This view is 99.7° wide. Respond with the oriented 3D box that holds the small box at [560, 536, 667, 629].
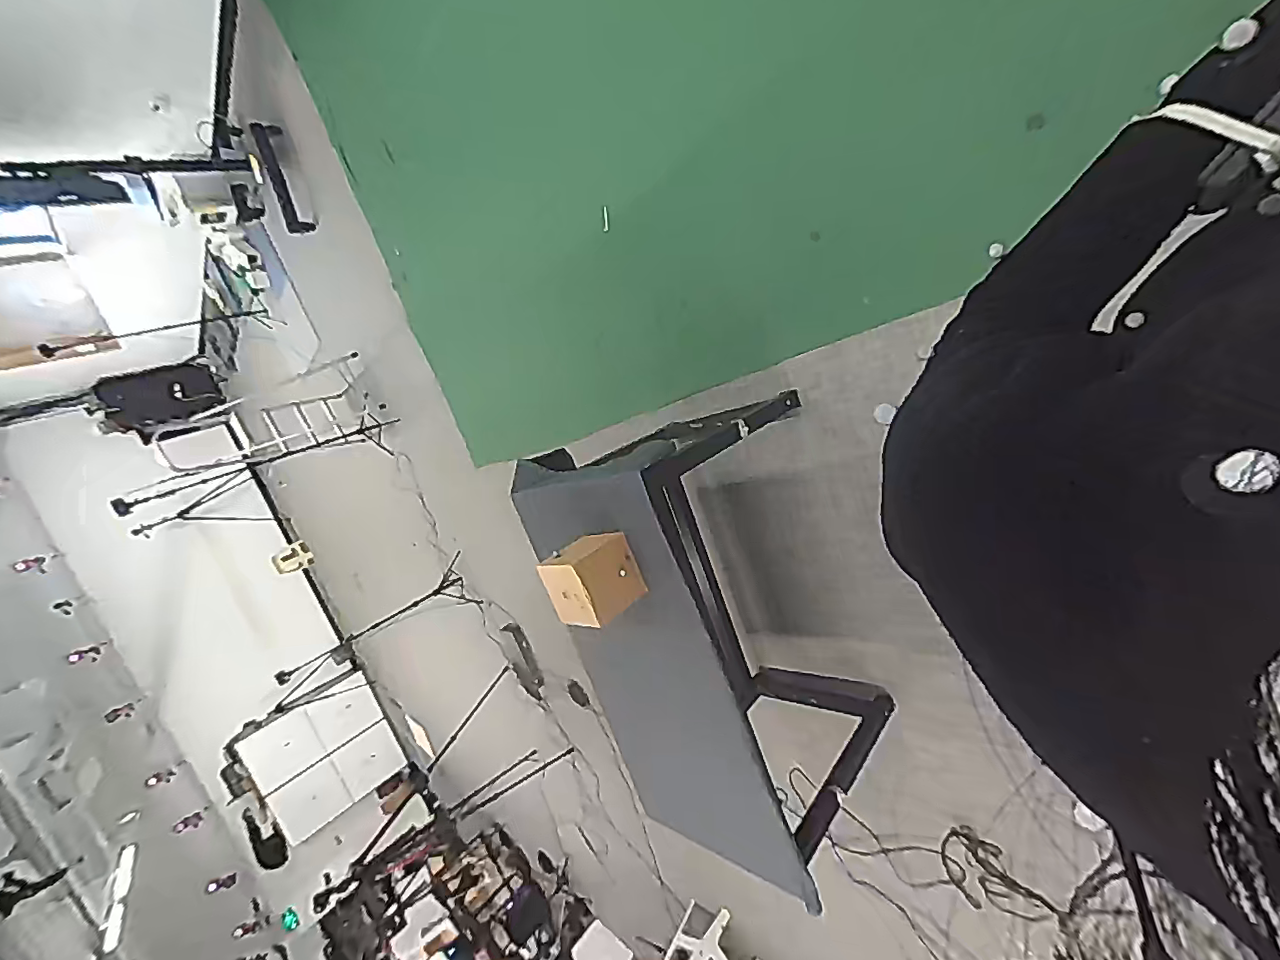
[{"bbox_3d":[-0.066,0.251,1.355,0.179,0.176,0.168,-14,102,51],"label":"small box"}]
